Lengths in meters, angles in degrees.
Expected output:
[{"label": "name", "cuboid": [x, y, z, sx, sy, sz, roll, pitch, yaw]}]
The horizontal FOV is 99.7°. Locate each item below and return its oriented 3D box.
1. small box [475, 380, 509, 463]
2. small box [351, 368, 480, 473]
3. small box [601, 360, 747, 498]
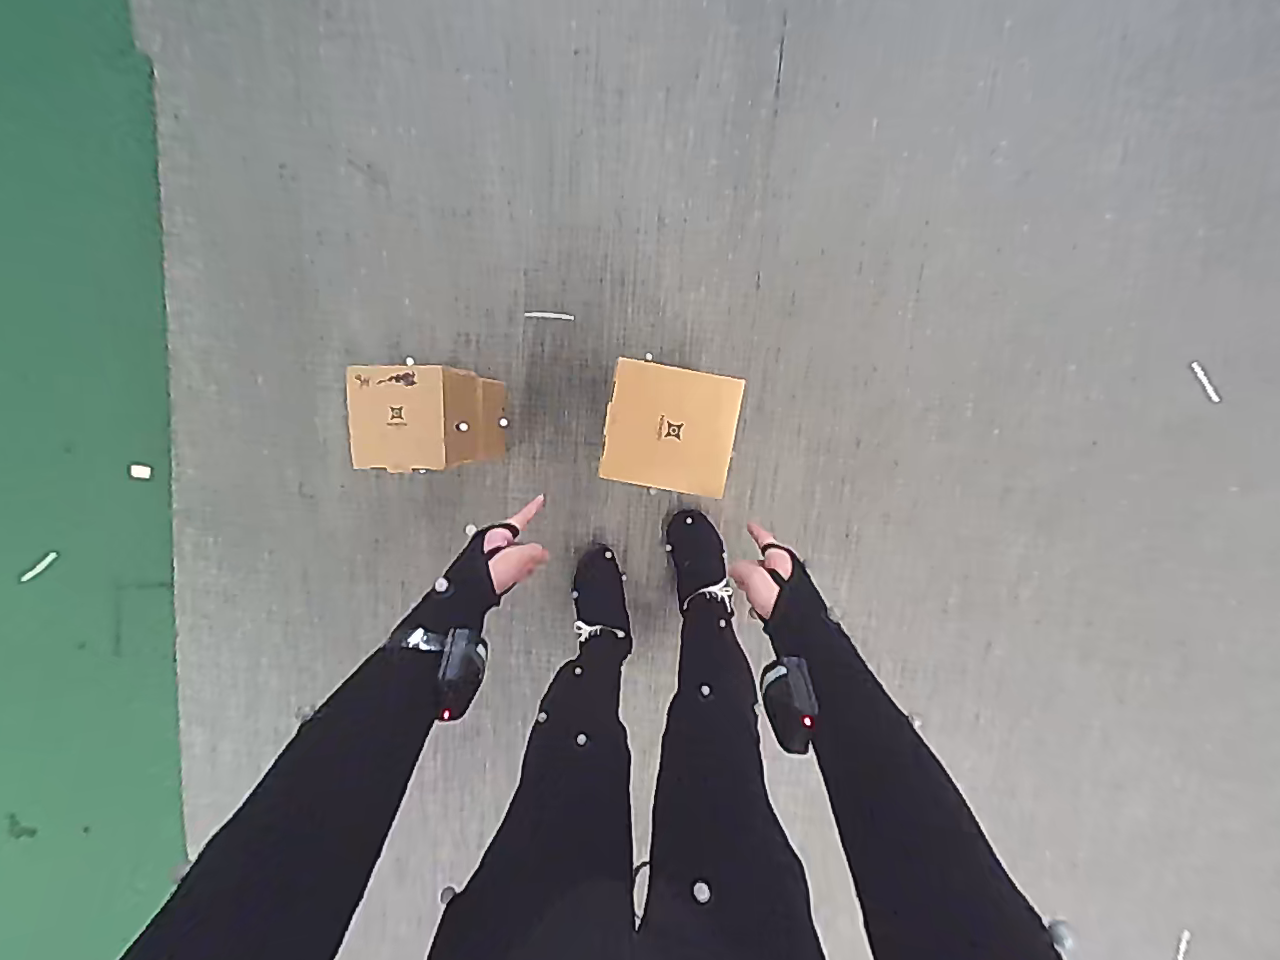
[{"label": "small box", "cuboid": [-0.390, -0.129, 1.153, 0.179, 0.176, 0.168, 3, 97, 1]}, {"label": "small box", "cuboid": [-0.399, -0.111, 0.990, 0.168, 0.176, 0.179, 1, 97, 2]}, {"label": "small box", "cuboid": [0.048, -0.079, 0.813, 0.179, 0.176, 0.168, 10, 98, 1]}]
